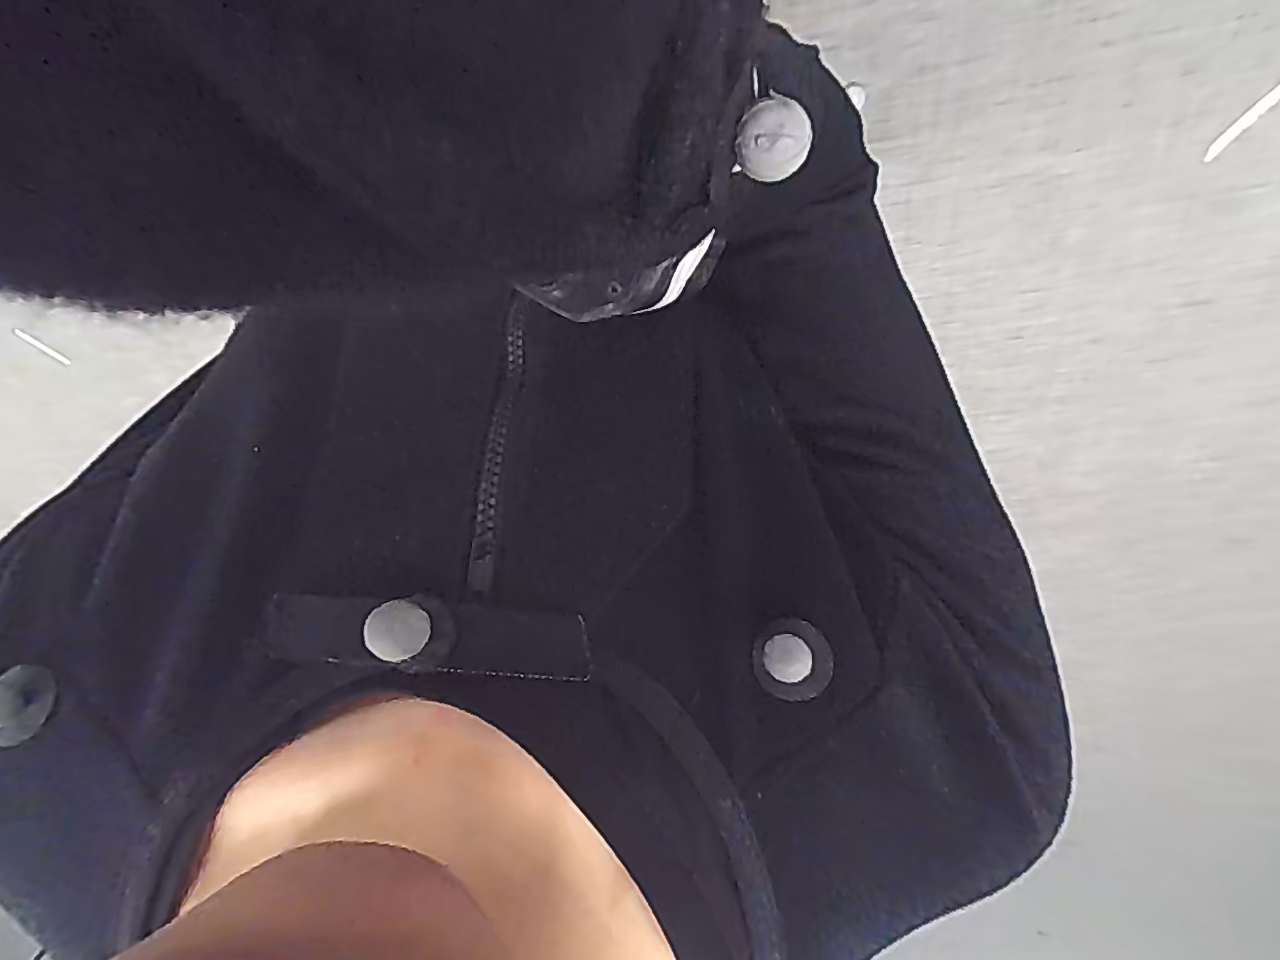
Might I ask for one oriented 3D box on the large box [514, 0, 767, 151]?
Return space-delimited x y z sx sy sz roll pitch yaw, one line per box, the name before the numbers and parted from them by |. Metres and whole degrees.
large box | 0.006 -0.803 0.986 0.408 0.320 0.320 -2 120 4
